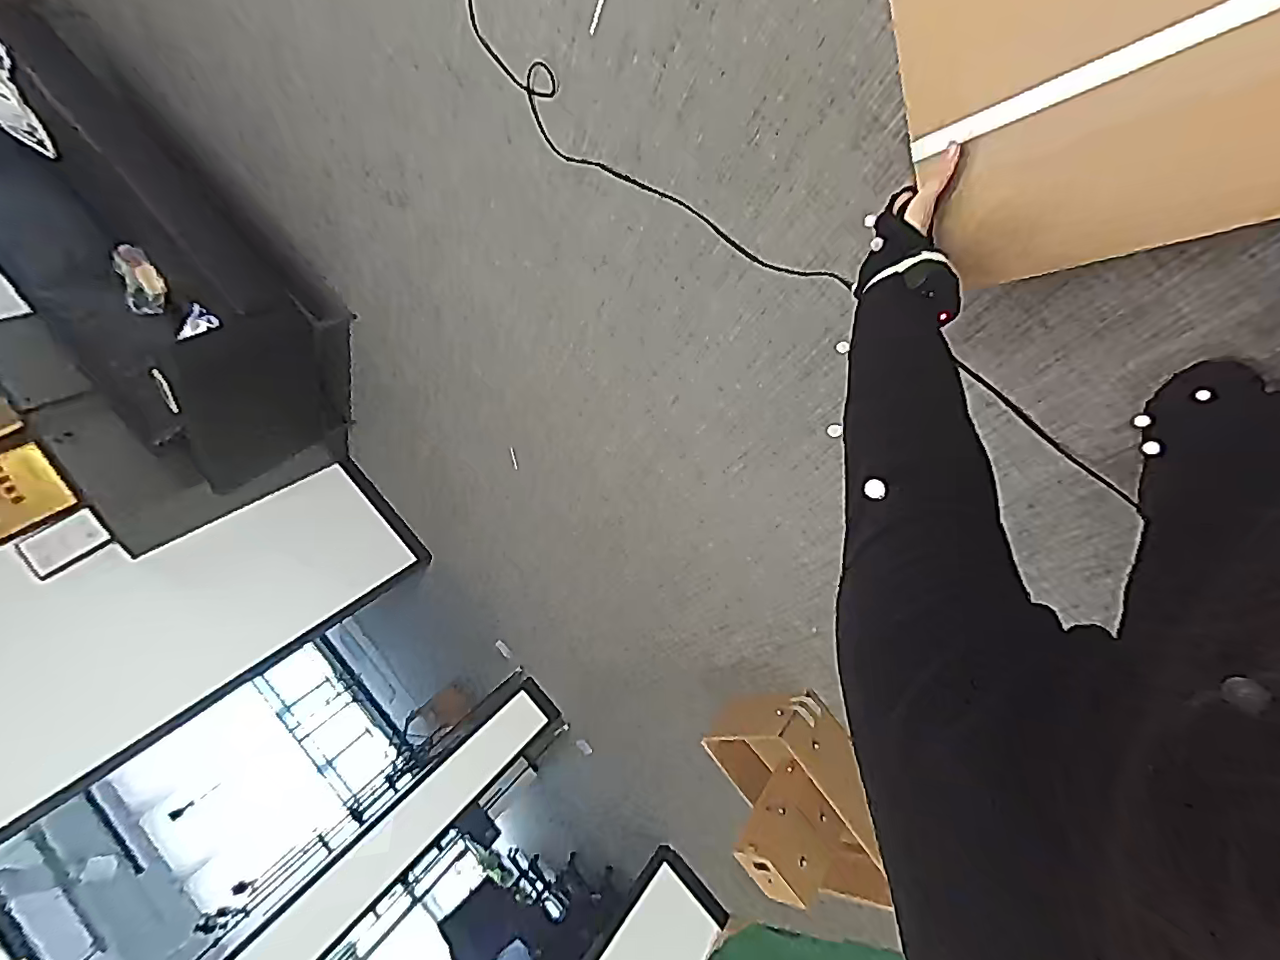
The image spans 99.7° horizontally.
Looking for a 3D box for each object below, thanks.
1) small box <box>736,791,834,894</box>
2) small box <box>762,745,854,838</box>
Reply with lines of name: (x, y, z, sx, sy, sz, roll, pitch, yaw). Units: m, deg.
small box: (0.417, 1.024, 1.547, 0.179, 0.176, 0.168, 51, 142, -1)
small box: (0.517, 0.943, 1.649, 0.179, 0.176, 0.168, 51, 142, 1)
